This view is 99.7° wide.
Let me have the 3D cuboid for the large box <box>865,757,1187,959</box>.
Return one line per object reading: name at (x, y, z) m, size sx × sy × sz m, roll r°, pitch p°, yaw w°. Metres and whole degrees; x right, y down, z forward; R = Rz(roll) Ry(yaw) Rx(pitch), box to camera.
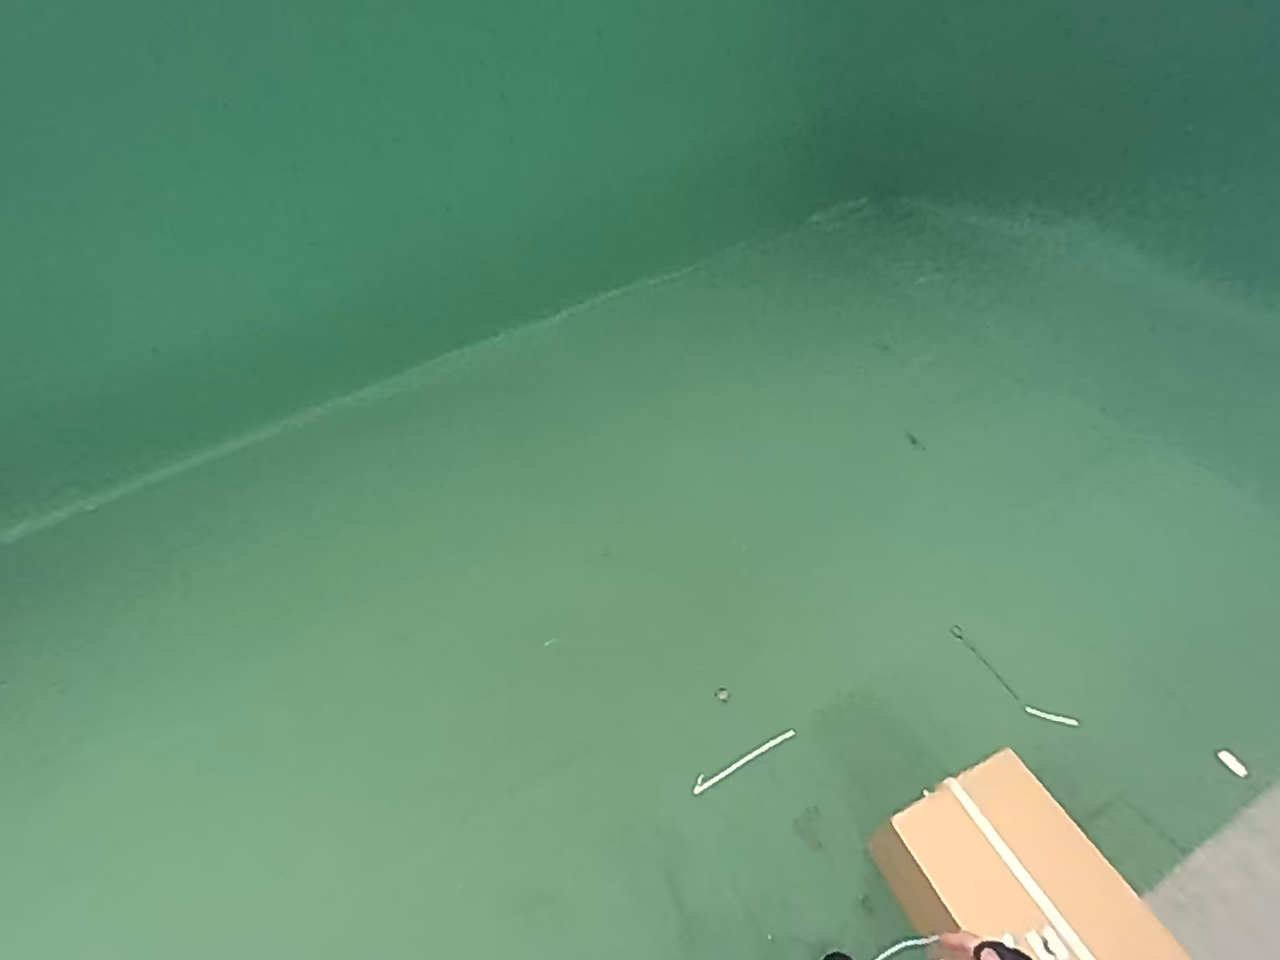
large box at (0.741, 0.868, 1.105) m, size 0.320 × 0.320 × 0.408 m, roll -24°, pitch 50°, yaw -11°
